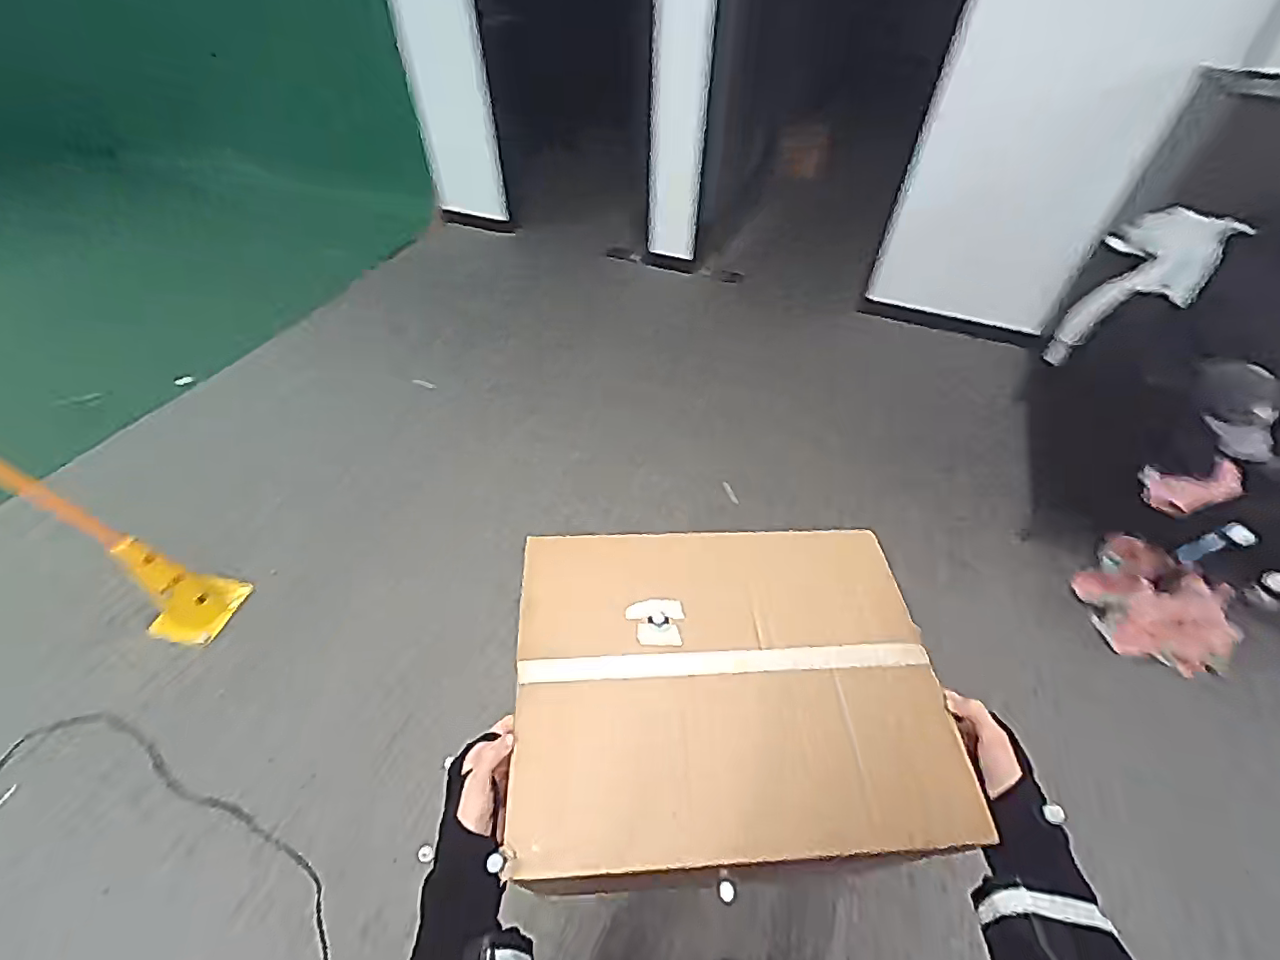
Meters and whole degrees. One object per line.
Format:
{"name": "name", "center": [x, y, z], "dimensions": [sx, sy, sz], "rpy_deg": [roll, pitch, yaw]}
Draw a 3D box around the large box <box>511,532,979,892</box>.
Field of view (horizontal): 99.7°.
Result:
{"name": "large box", "center": [0.078, 0.282, 0.650], "dimensions": [0.408, 0.320, 0.320], "rpy_deg": [-2, 51, -5]}
